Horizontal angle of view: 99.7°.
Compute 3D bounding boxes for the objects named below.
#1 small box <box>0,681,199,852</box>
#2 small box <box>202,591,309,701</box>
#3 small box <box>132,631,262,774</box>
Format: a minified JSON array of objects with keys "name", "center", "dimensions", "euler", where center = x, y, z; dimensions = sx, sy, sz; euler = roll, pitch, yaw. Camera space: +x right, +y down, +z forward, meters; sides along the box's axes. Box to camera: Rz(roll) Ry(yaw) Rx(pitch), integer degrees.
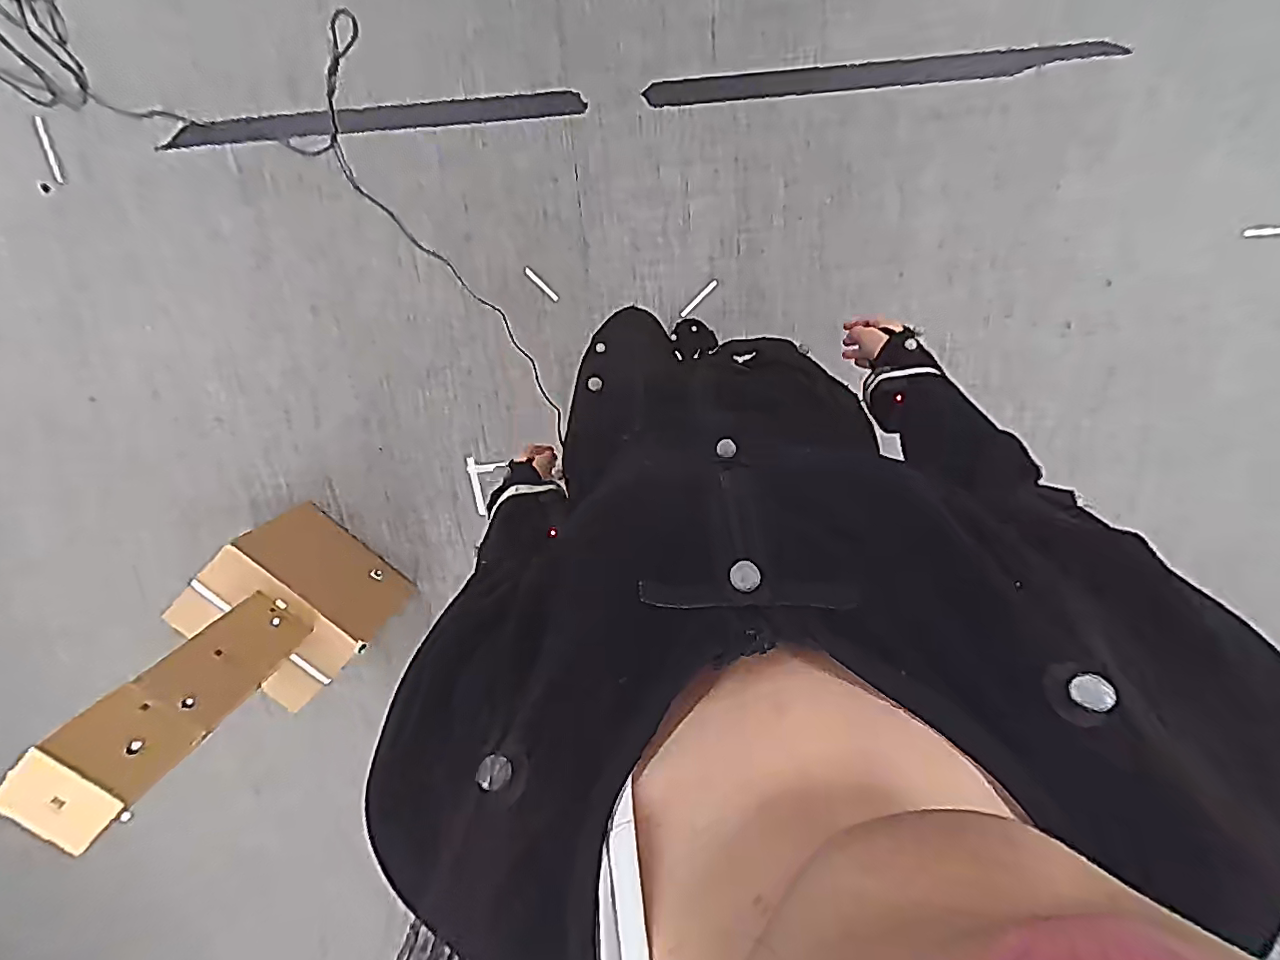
[{"name":"small box","center":[-0.948,0.500,0.964],"dimensions":[0.168,0.176,0.179],"euler":[43,105,-11]},{"name":"small box","center":[-0.931,0.401,1.275],"dimensions":[0.168,0.176,0.179],"euler":[43,104,-11]},{"name":"small box","center":[-0.940,0.454,1.120],"dimensions":[0.168,0.176,0.179],"euler":[43,105,-11]}]
